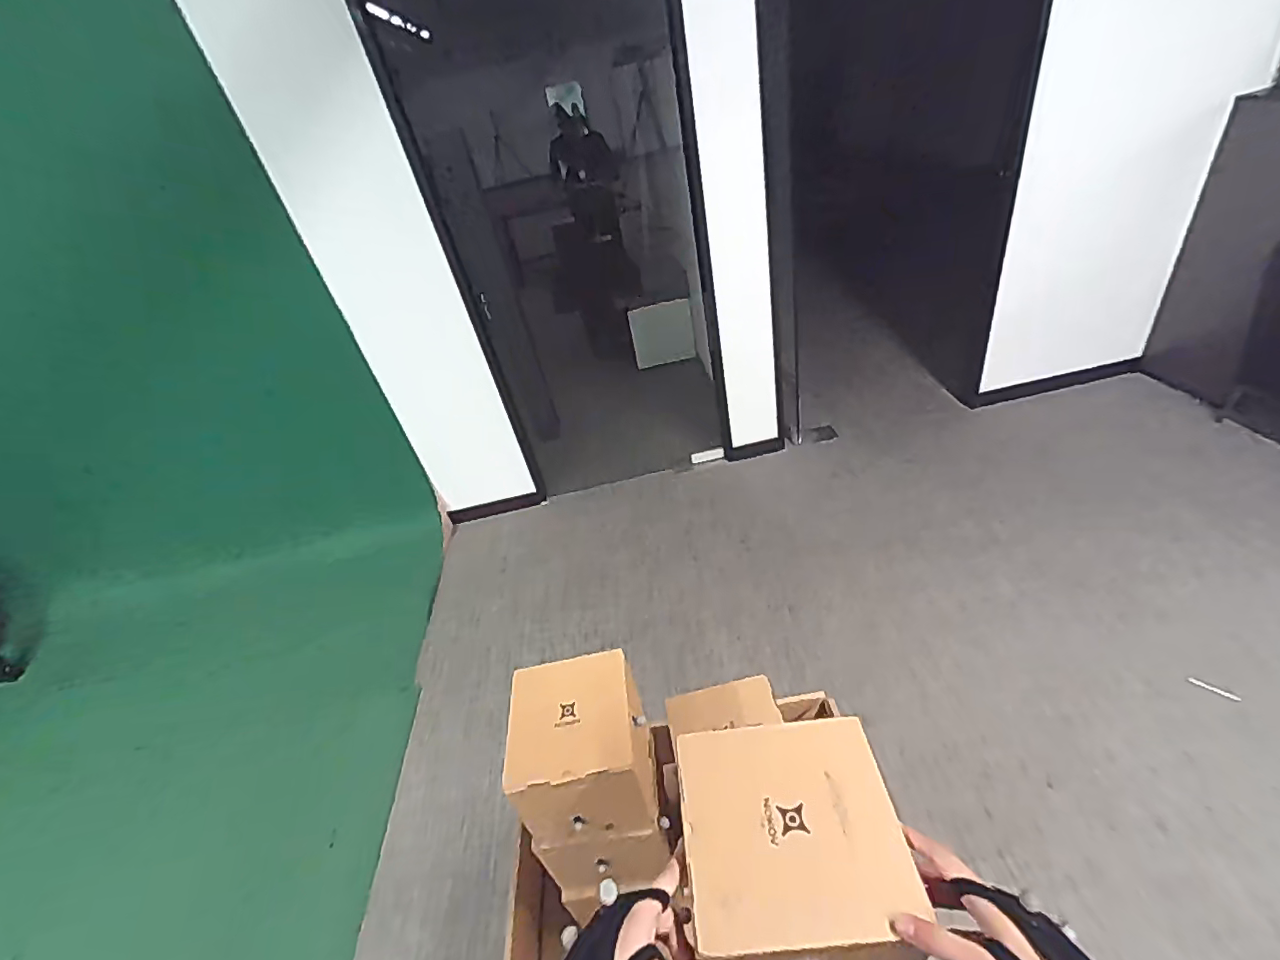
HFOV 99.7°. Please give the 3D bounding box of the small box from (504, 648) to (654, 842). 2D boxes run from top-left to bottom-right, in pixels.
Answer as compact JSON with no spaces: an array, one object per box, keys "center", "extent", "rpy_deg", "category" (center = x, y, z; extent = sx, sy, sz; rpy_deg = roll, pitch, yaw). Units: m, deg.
[{"center":[-0.080,0.374,0.769],"extent":[0.168,0.176,0.179],"rpy_deg":[-12,36,1],"category":"small box"}]
